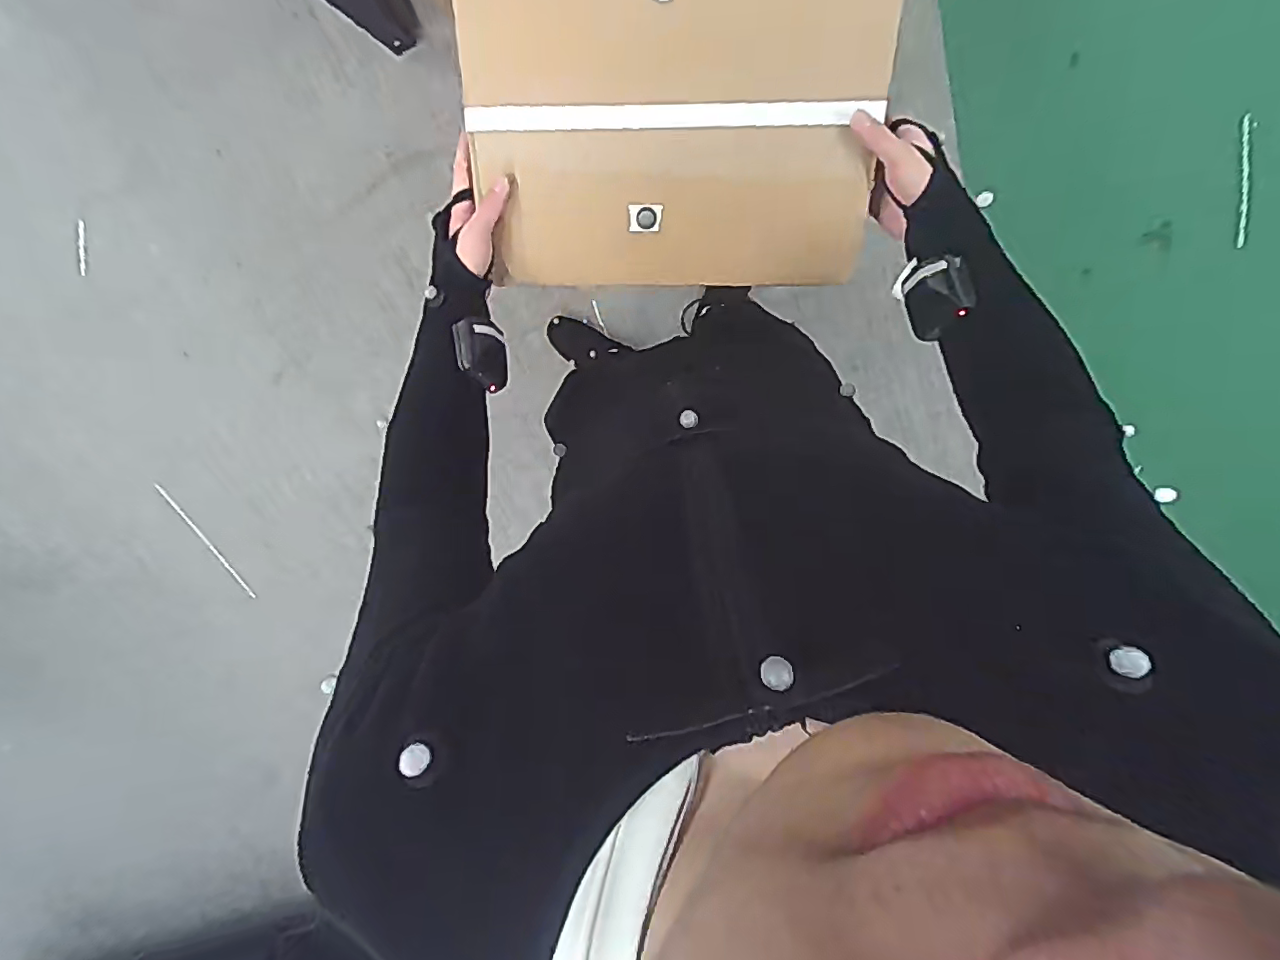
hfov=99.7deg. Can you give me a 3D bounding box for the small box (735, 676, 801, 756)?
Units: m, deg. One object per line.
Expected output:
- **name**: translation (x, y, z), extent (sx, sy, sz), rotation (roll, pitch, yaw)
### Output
- **small box**: translation (0.447, 0.832, 1.919), extent (0.179, 0.176, 0.168), rotation (-24, 111, 11)
